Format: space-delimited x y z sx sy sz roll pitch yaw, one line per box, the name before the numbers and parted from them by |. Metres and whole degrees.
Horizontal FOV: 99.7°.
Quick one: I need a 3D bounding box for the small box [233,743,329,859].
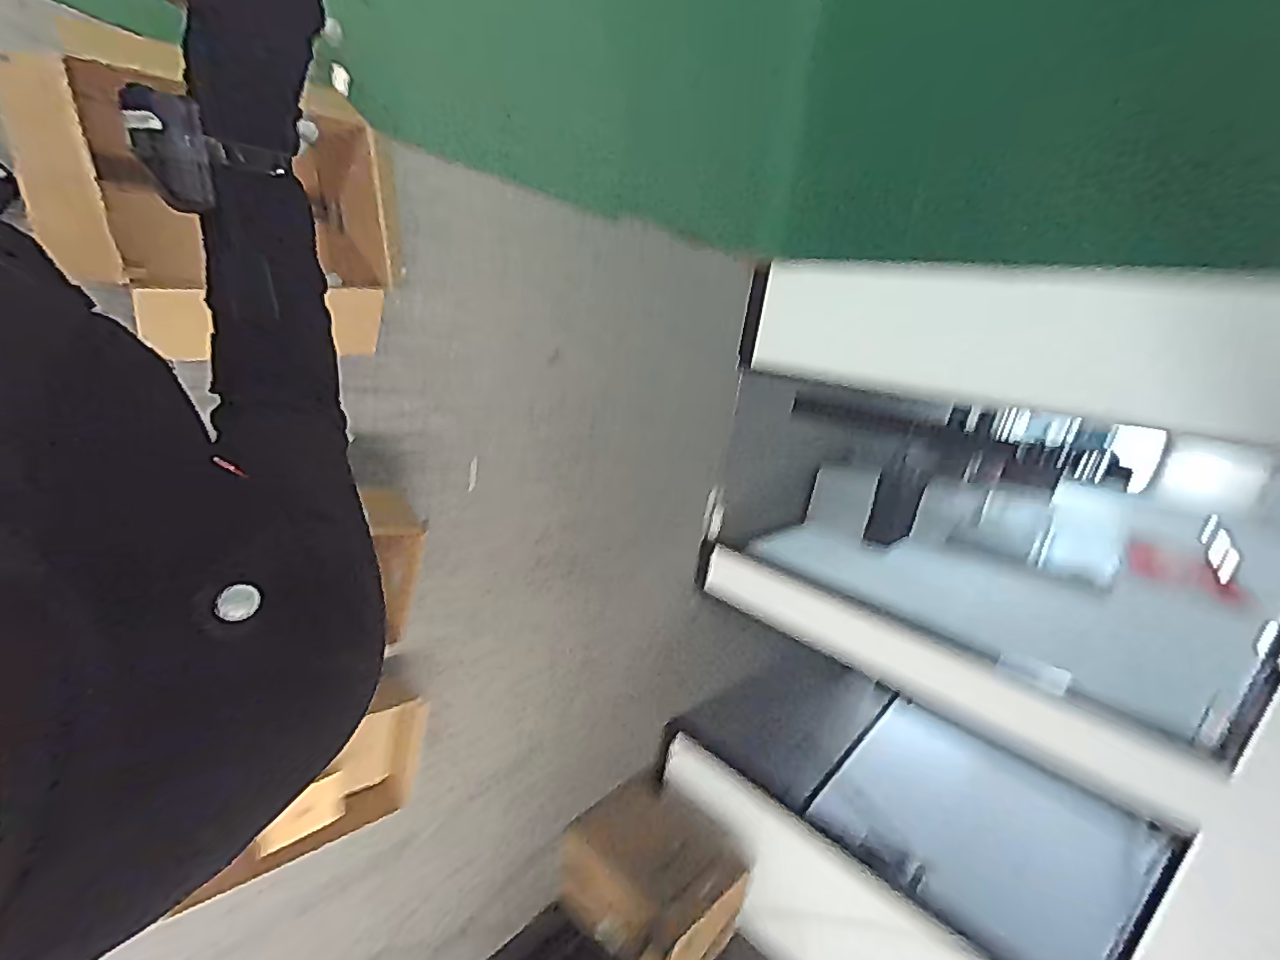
small box | -0.967 0.850 1.456 0.179 0.176 0.168 -6 111 -48
